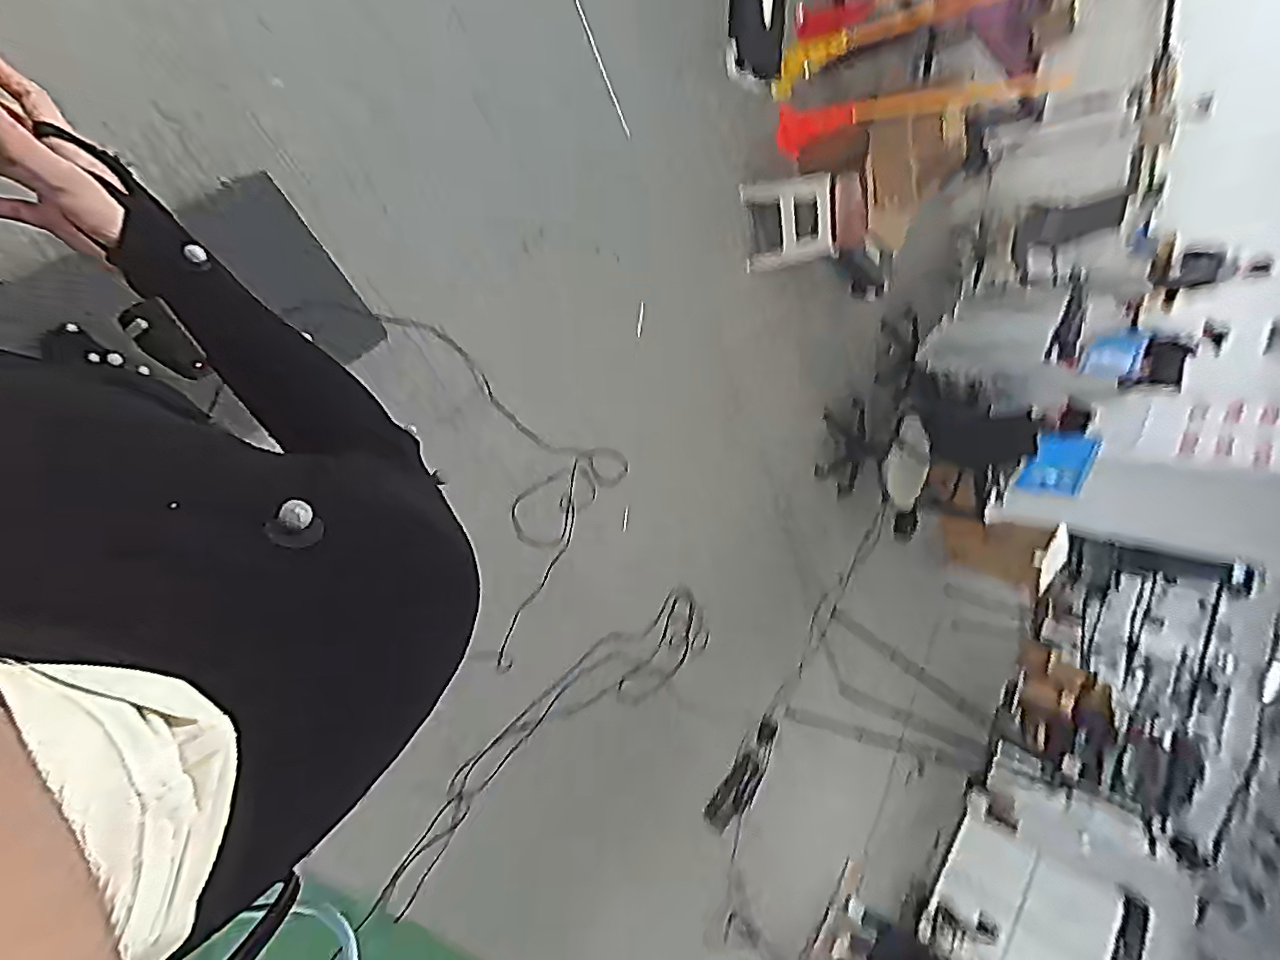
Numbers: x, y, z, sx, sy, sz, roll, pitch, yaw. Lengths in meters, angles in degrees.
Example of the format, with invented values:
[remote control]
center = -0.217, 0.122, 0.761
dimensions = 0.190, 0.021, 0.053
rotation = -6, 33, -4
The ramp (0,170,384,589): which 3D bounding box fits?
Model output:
[ramp]
center = -1.122, -0.286, 1.250
dimensions = 0.991, 0.206, 0.509
rotation = -49, 127, -24
